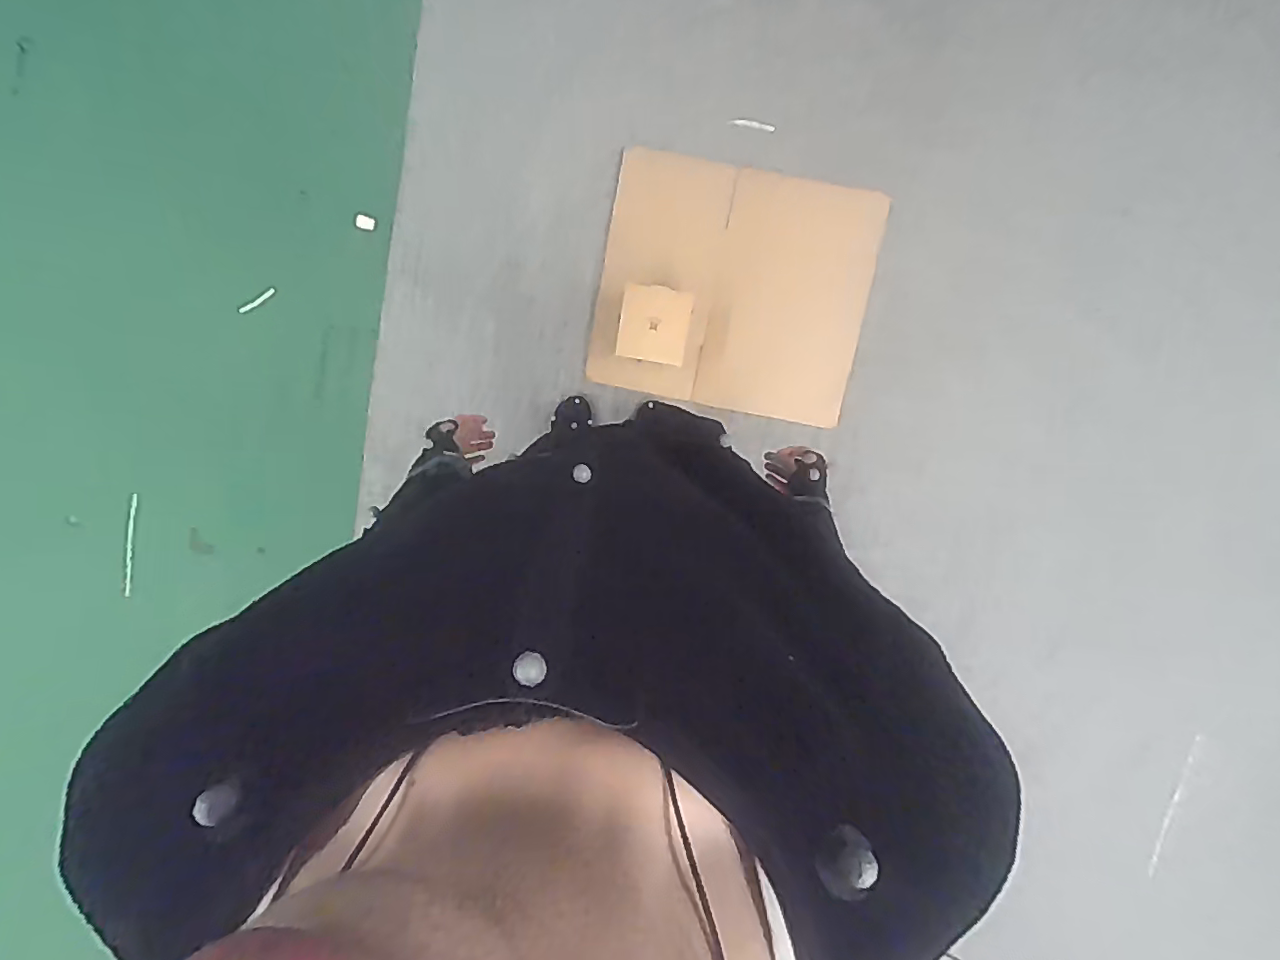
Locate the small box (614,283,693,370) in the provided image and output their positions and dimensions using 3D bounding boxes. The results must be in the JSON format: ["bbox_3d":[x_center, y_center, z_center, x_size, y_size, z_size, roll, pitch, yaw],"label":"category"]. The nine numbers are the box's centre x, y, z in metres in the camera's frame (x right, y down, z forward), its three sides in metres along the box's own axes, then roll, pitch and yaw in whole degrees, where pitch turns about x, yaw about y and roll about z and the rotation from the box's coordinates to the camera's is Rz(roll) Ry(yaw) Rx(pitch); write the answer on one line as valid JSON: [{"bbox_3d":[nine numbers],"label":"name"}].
[{"bbox_3d":[0.035,-0.376,1.354,0.168,0.176,0.179,10,98,0],"label":"small box"}]
